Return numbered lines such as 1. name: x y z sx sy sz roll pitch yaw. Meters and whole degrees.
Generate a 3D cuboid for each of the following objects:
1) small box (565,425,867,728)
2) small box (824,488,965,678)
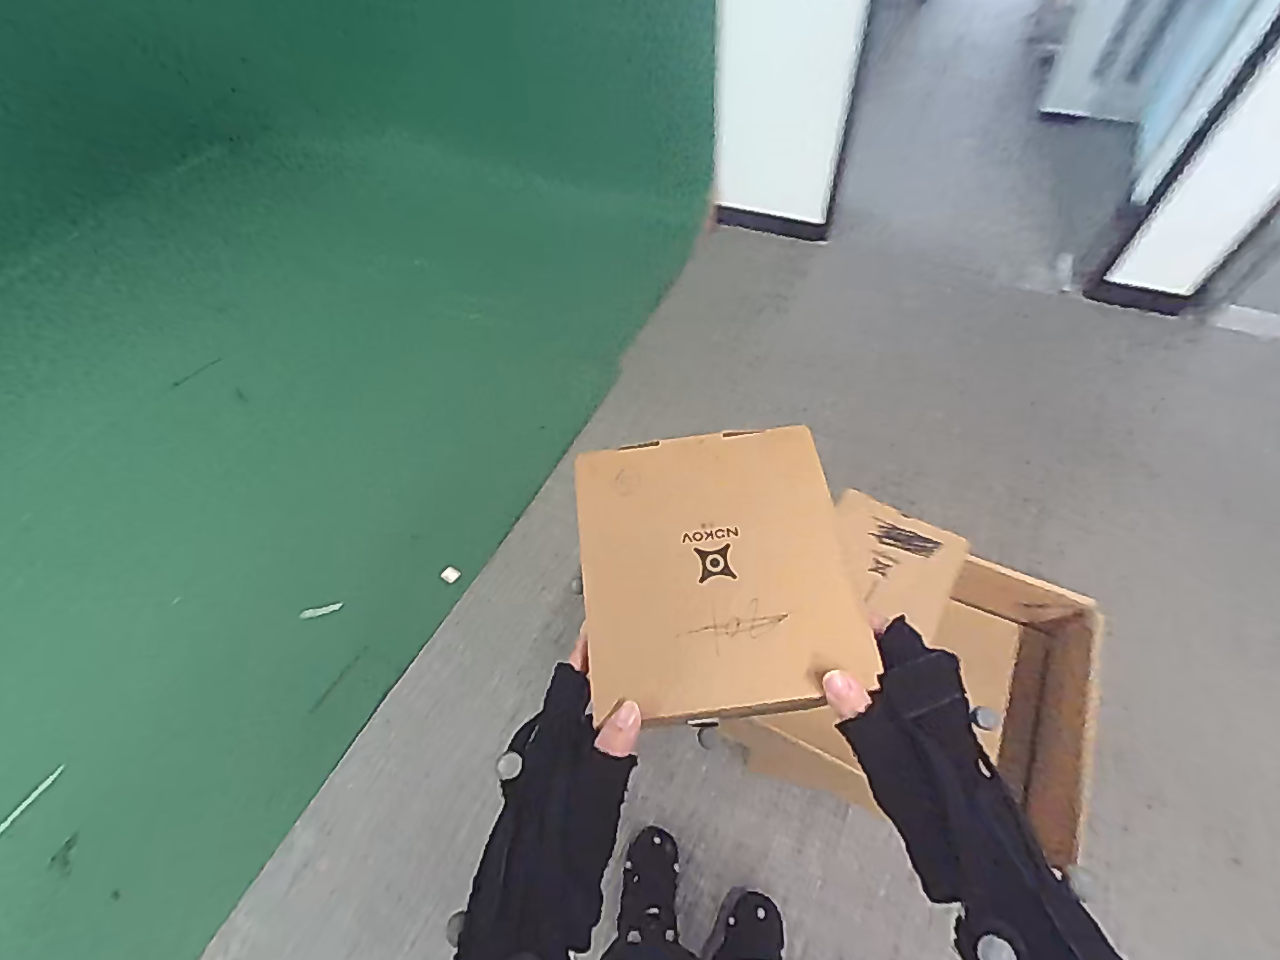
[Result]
1. small box: 0.041 0.083 0.412 0.168 0.176 0.179 -9 65 -1
2. small box: 0.317 0.149 0.765 0.168 0.176 0.179 27 64 21
